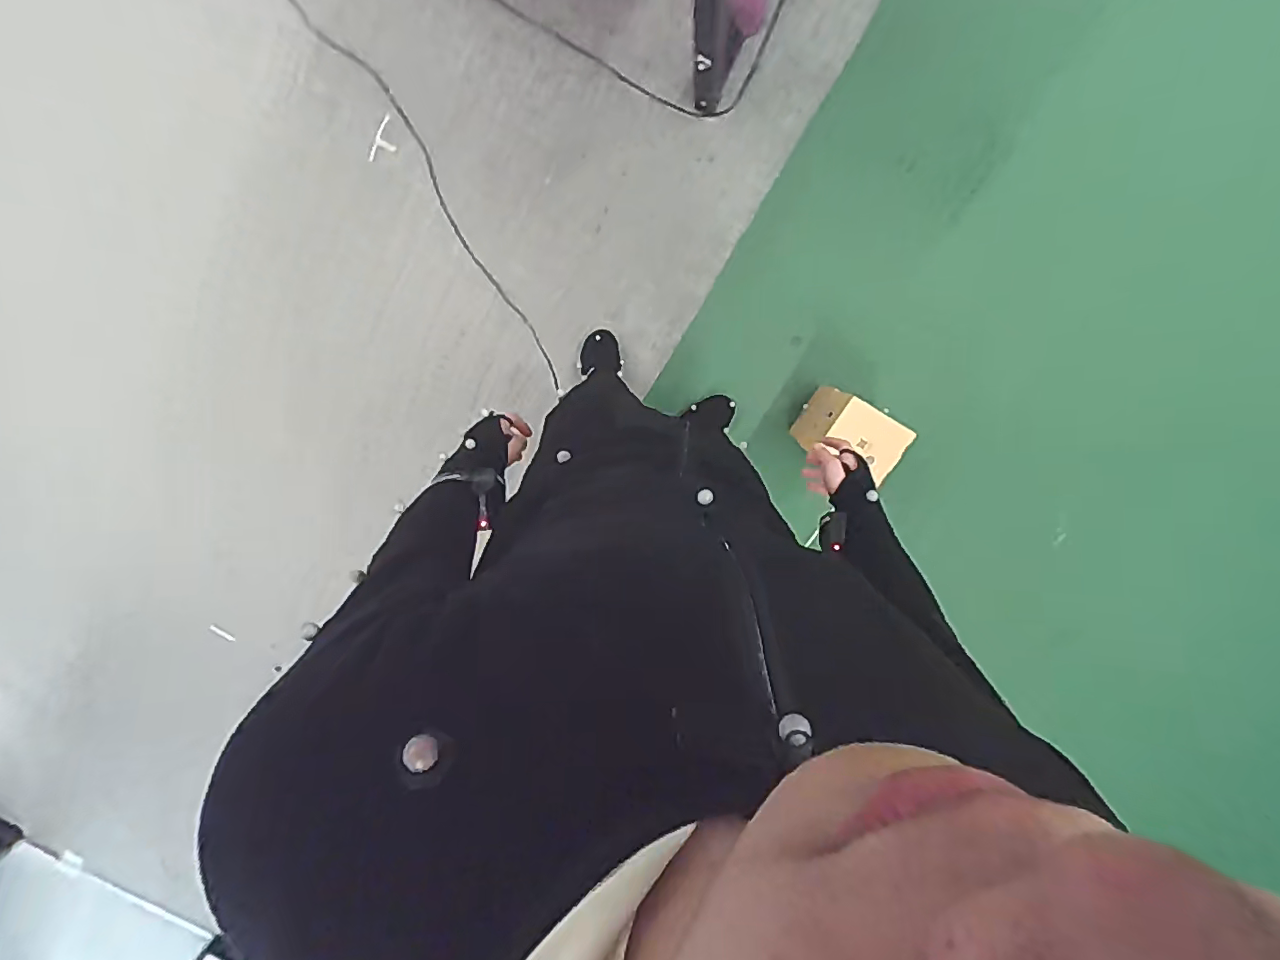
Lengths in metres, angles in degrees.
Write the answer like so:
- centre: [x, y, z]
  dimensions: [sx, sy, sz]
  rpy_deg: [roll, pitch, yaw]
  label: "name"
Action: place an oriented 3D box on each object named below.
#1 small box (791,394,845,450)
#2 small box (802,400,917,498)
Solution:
- centre: [0.539, -0.123, 1.475]
  dimensions: [0.179, 0.176, 0.168]
  rpy_deg: [31, 104, -2]
  label: "small box"
- centre: [0.523, -0.083, 1.319]
  dimensions: [0.179, 0.176, 0.168]
  rpy_deg: [31, 104, -3]
  label: "small box"
